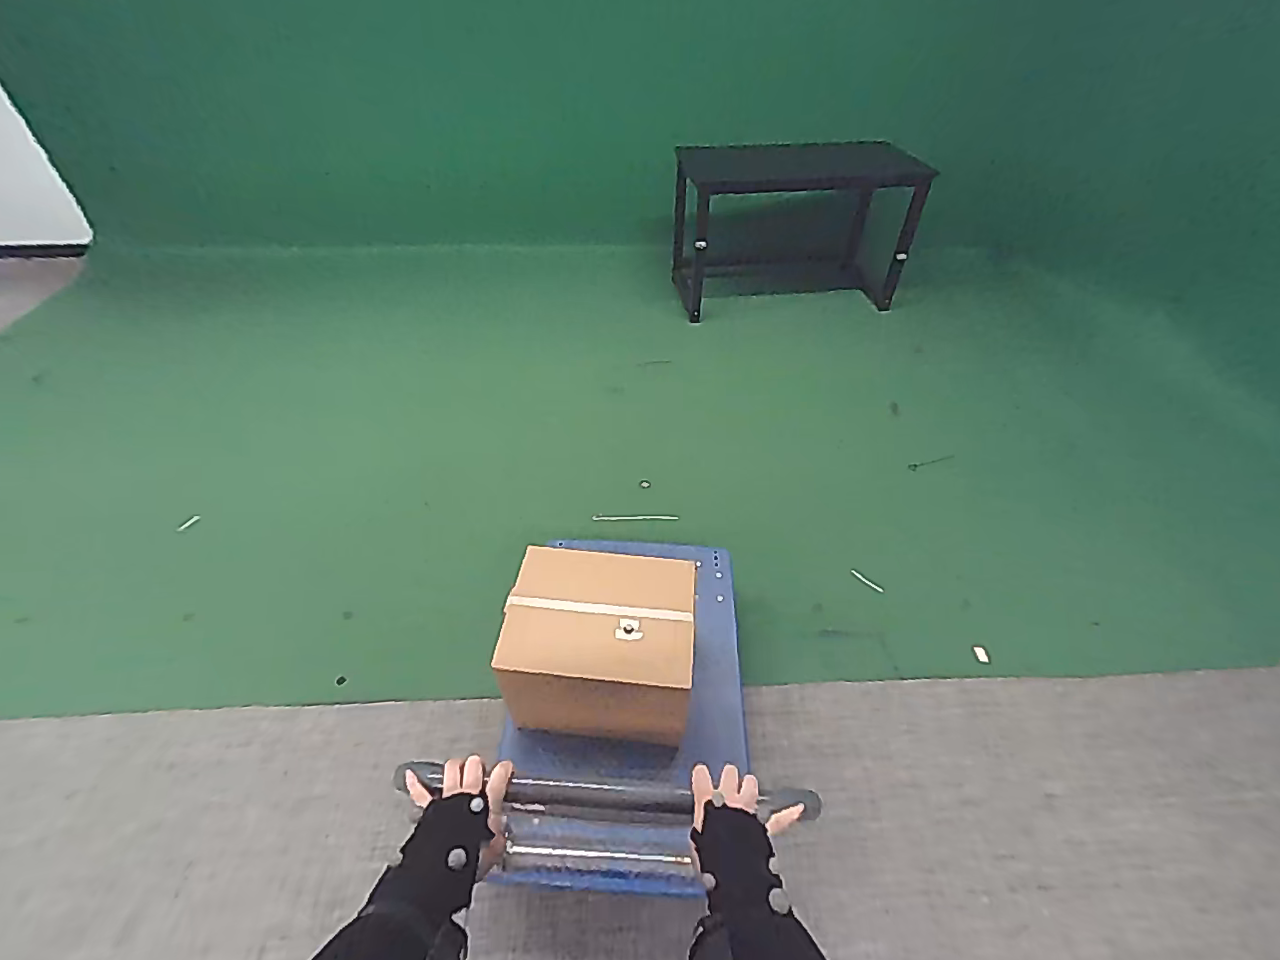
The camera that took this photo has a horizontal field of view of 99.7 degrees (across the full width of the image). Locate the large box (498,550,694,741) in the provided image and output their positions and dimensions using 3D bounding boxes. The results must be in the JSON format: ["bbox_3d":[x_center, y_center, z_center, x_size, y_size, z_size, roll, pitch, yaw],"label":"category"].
[{"bbox_3d":[-0.089,0.399,1.301,0.408,0.320,0.320,5,45,3],"label":"large box"}]
